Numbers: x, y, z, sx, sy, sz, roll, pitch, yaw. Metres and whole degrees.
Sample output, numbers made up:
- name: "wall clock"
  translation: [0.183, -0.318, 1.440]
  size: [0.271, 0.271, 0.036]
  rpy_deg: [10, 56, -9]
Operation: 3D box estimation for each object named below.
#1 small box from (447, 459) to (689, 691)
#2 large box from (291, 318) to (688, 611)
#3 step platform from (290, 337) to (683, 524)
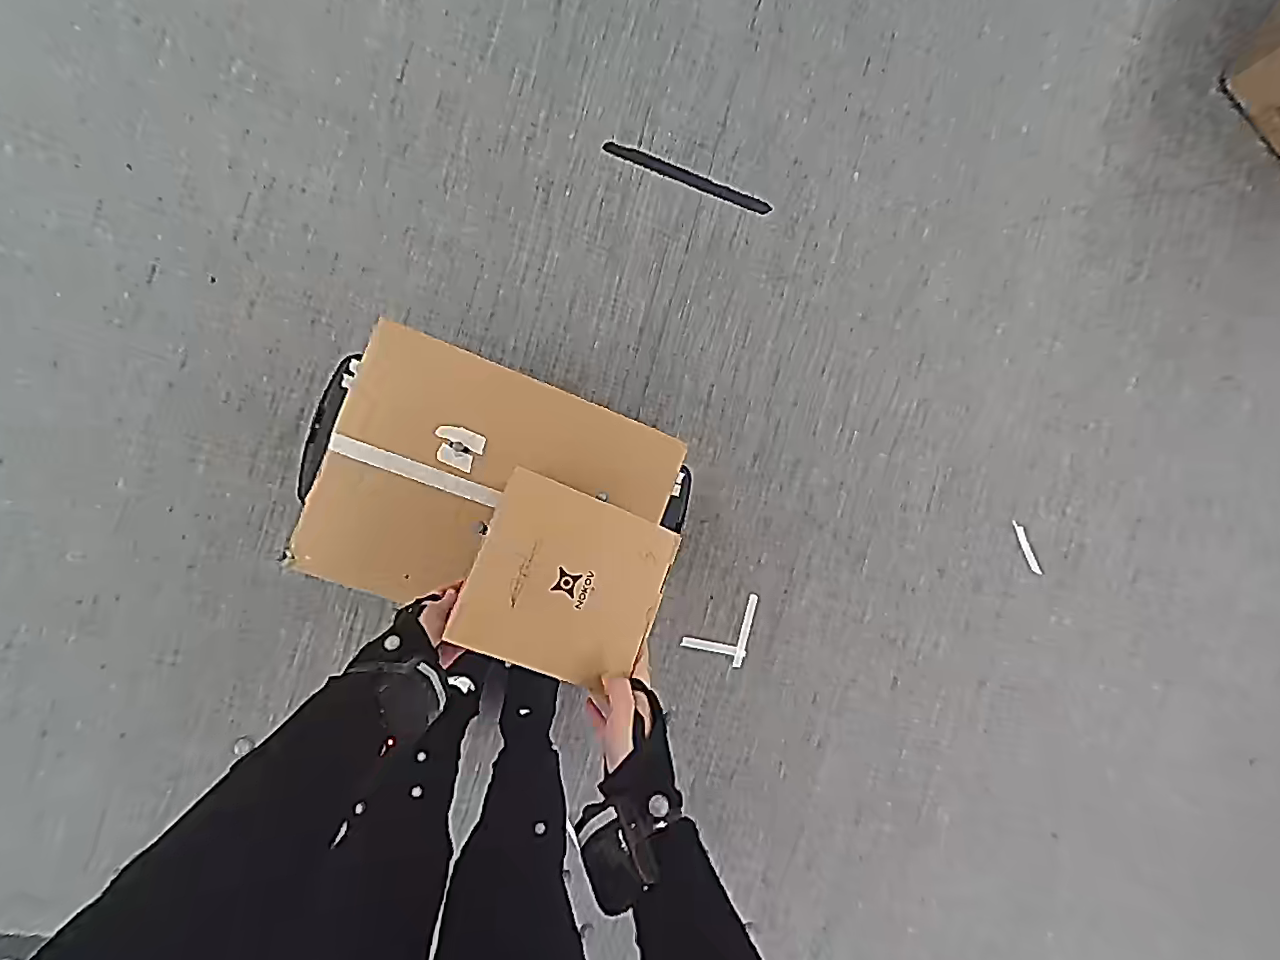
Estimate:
- name: "small box"
  translation: [-0.080, 0.092, 0.566]
  size: [0.179, 0.176, 0.168]
  rpy_deg: [25, 79, -13]
- name: "large box"
  translation: [-0.193, 0.012, 0.806]
  size: [0.408, 0.320, 0.320]
  rpy_deg: [22, 88, -10]
- name: "step platform"
  translation: [-0.263, -0.004, 1.035]
  size: [0.684, 0.204, 0.286]
  rpy_deg: [24, 88, -10]
